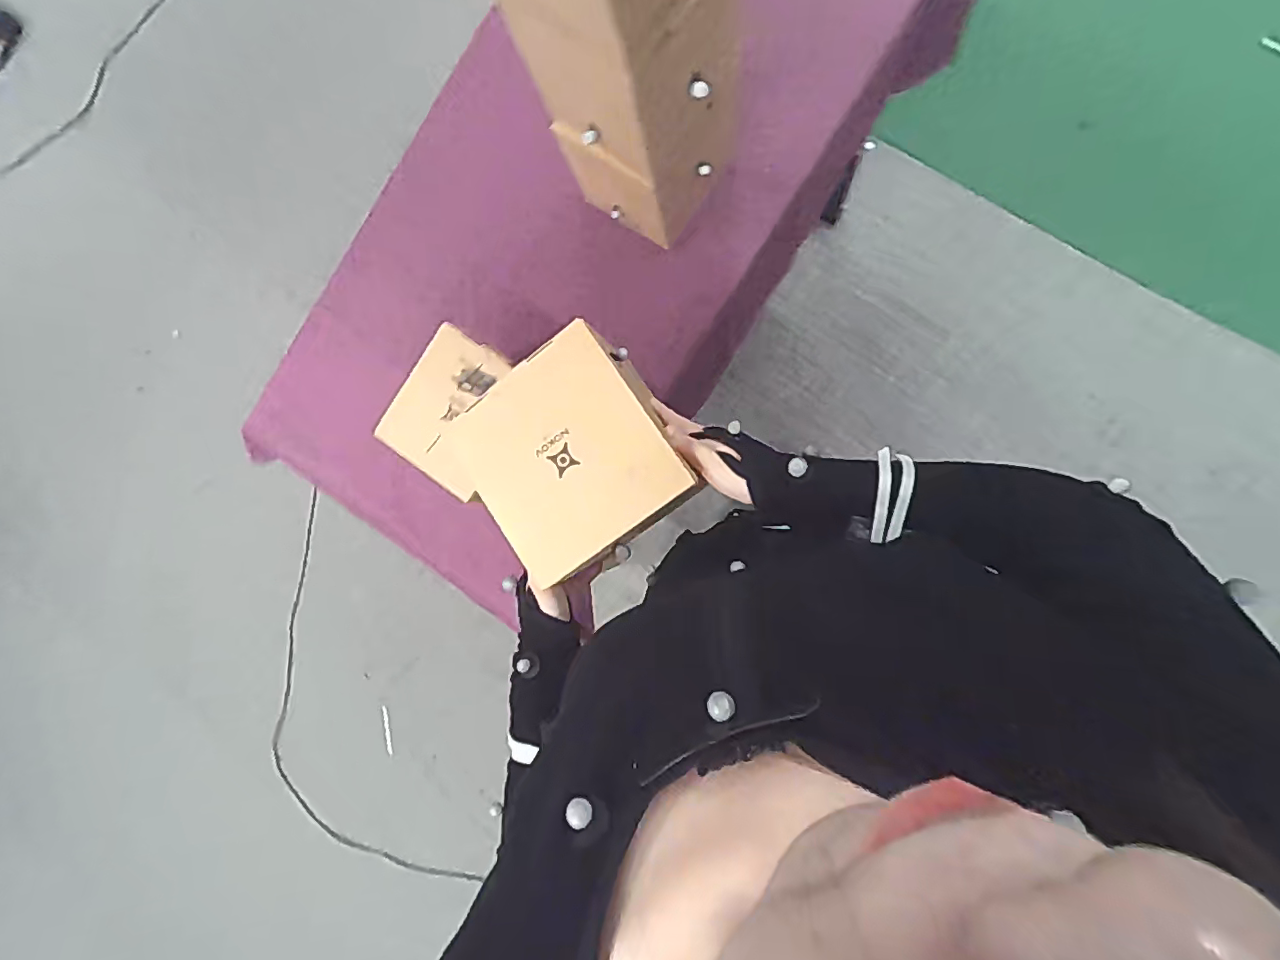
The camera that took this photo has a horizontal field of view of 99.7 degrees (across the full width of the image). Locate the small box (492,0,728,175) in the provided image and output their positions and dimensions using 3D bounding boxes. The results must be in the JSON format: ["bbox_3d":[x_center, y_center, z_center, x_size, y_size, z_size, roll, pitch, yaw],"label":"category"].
[{"bbox_3d":[-0.017,-0.473,0.585,0.179,0.176,0.168,39,94,9],"label":"small box"}]

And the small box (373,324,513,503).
[{"bbox_3d":[-0.223,-0.082,0.764,0.168,0.176,0.179,34,93,10],"label":"small box"}]

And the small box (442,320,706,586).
[{"bbox_3d":[-0.050,-0.023,0.541,0.168,0.176,0.179,-36,82,10],"label":"small box"}]
